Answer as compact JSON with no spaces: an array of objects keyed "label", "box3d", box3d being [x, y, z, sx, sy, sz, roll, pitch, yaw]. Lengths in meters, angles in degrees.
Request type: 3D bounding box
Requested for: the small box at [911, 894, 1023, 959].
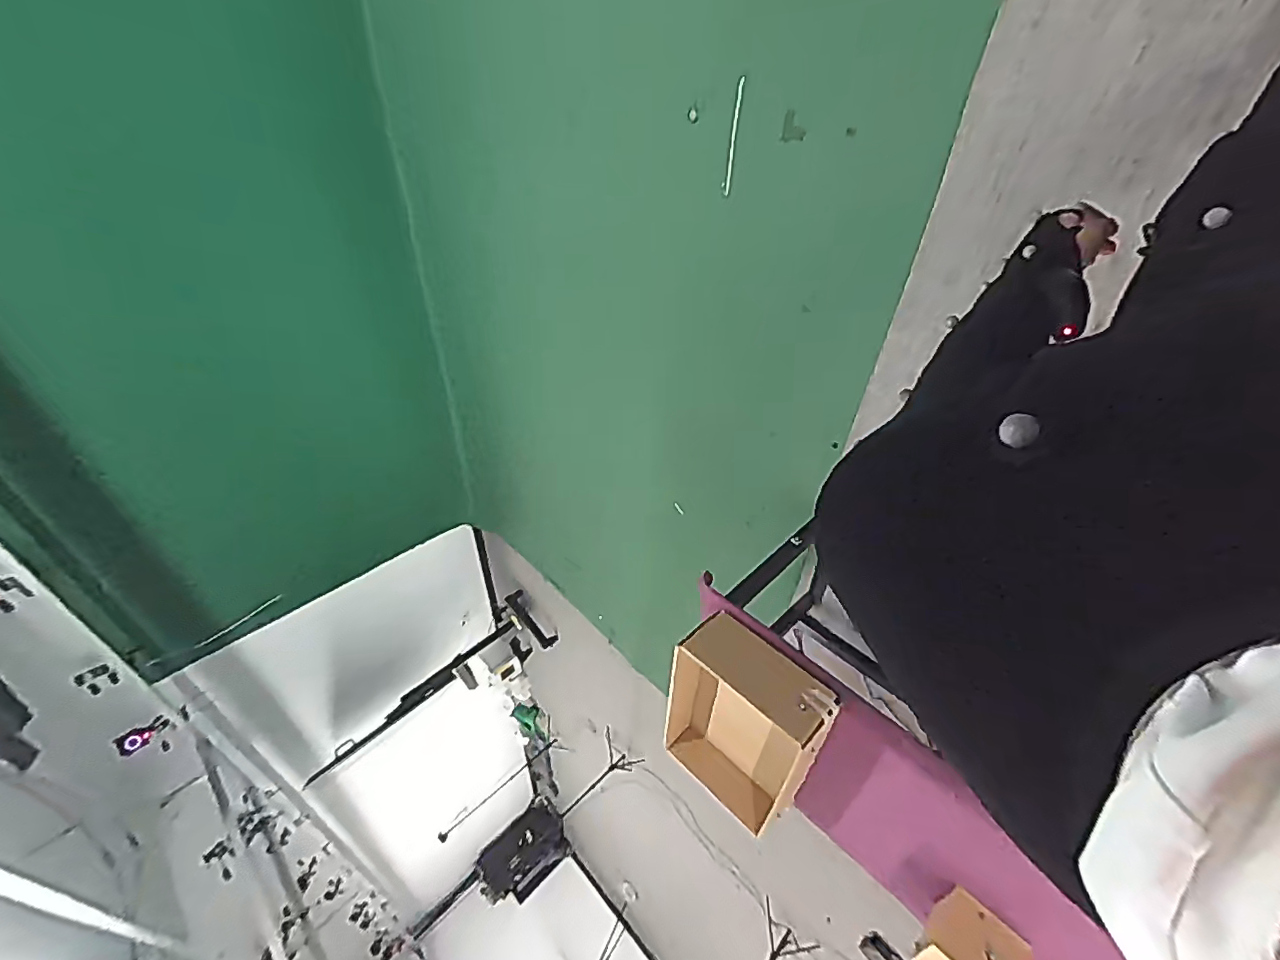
[{"label":"small box","box3d":[0.777,1.144,1.292,0.168,0.176,0.179,32,138,34]}]
